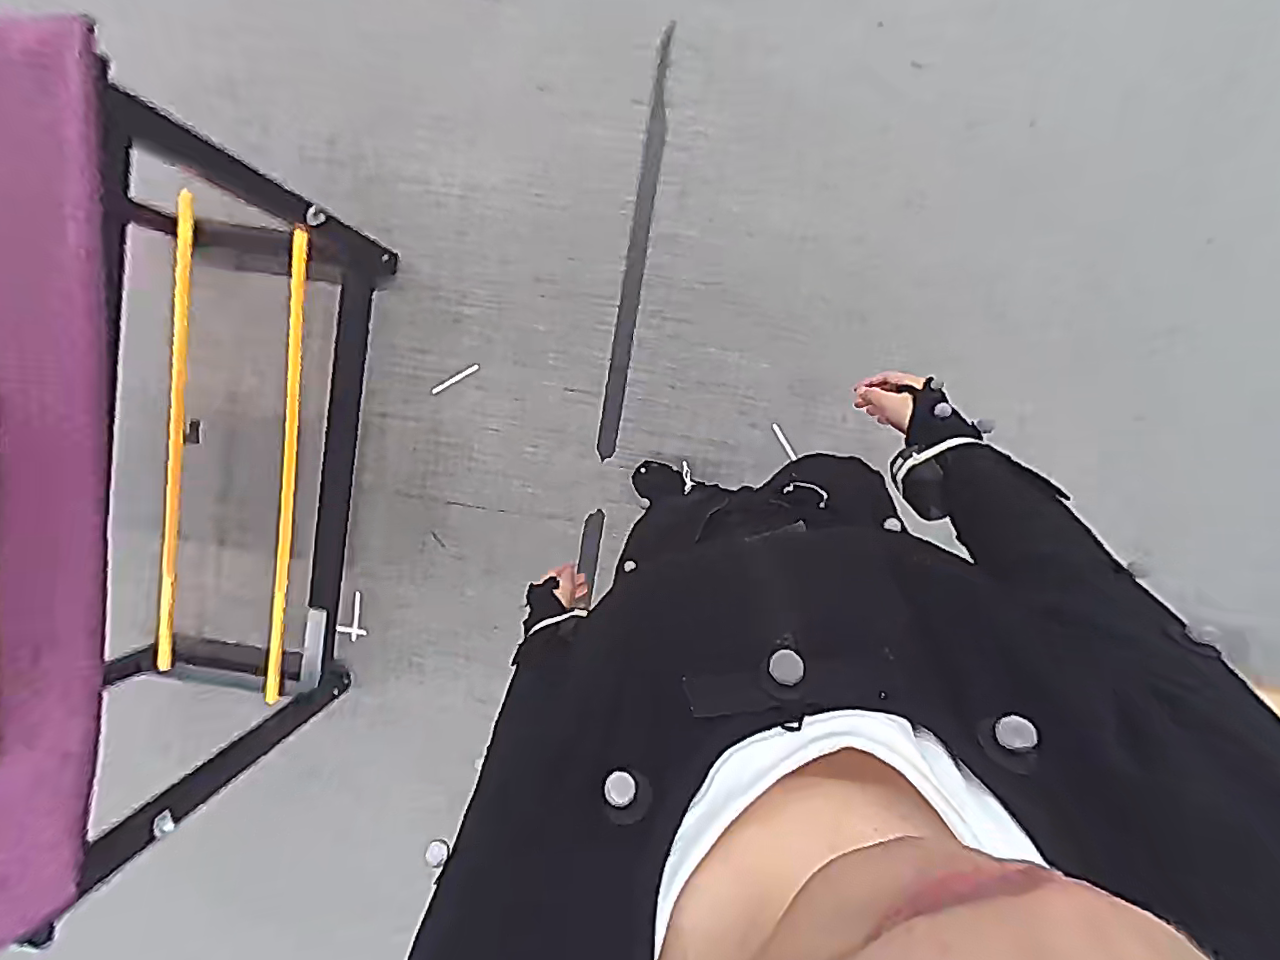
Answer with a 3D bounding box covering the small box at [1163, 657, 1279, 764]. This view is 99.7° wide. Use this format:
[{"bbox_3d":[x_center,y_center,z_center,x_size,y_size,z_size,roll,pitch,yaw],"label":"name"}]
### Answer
[{"bbox_3d":[1.378,0.526,1.246,0.179,0.176,0.168,9,96,3],"label":"small box"}]
